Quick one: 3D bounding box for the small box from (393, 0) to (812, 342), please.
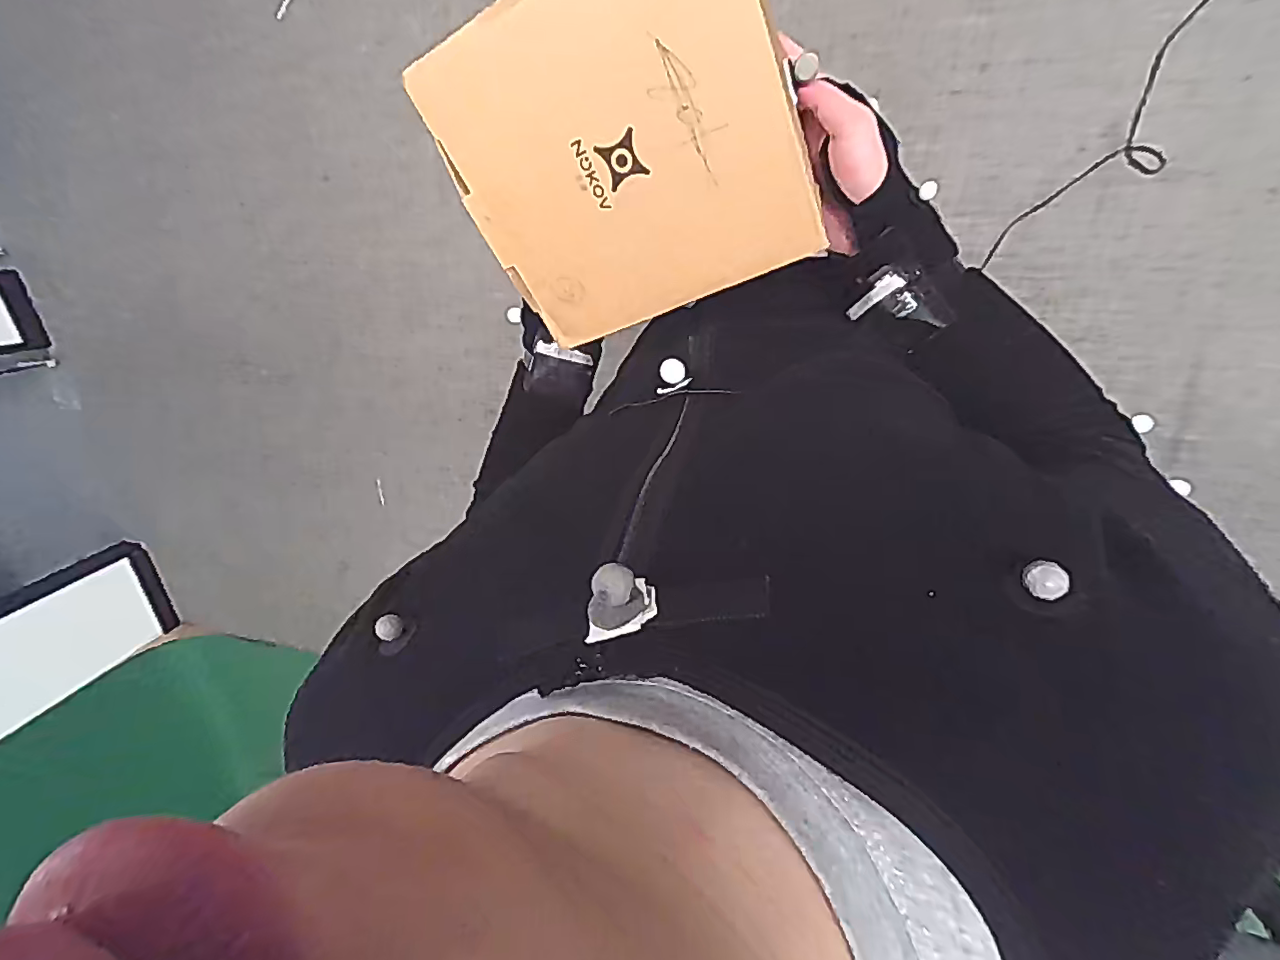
[{"bbox_3d":[-0.002,-0.219,0.338,0.179,0.176,0.168,-15,126,25],"label":"small box"}]
